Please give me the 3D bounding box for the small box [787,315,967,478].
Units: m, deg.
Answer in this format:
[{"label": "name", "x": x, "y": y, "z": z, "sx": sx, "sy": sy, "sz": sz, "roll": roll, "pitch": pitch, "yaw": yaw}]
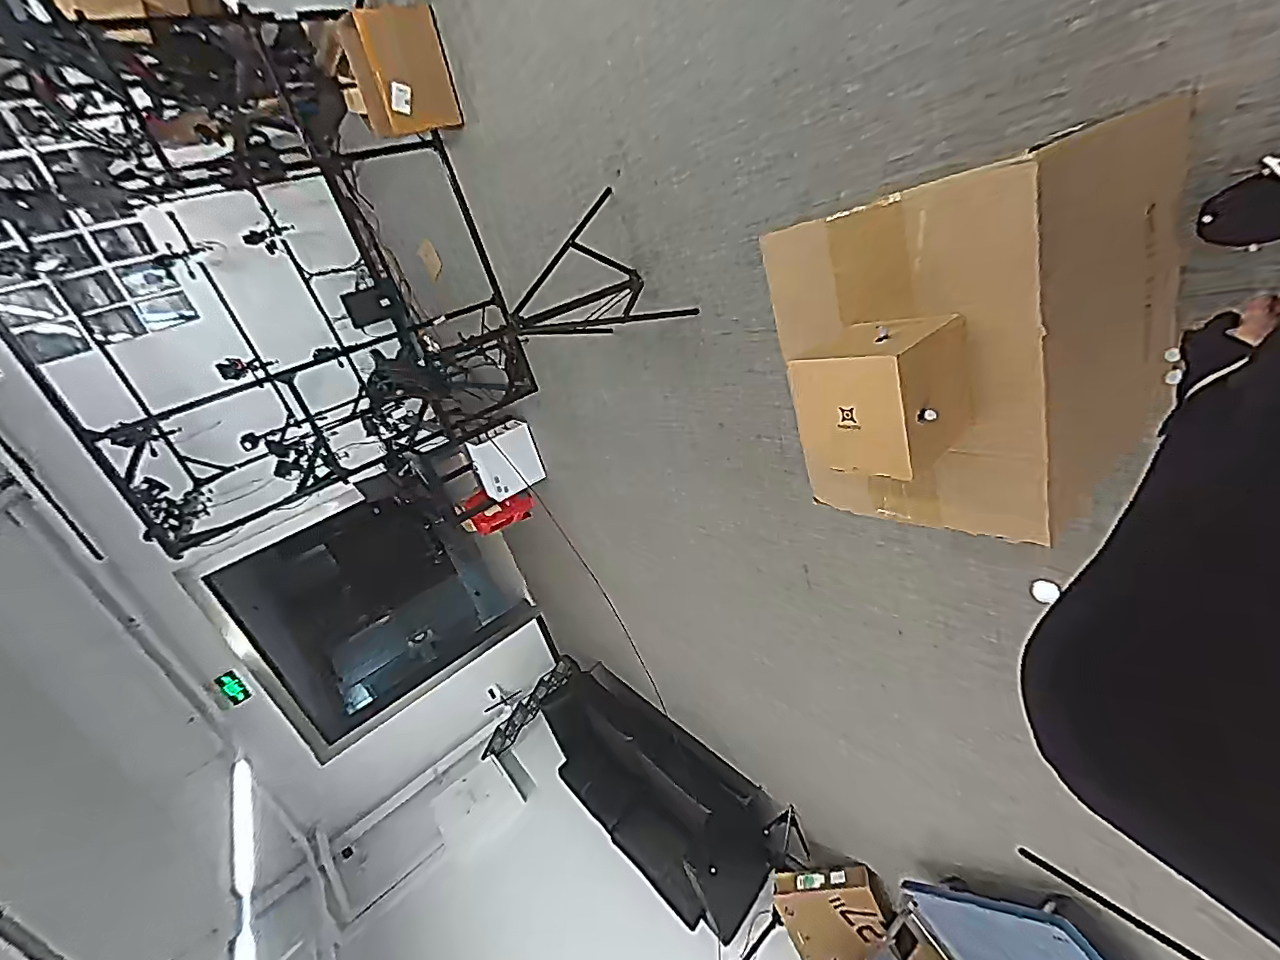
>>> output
[{"label": "small box", "x": 0.342, "y": -0.126, "z": 0.774, "sx": 0.168, "sy": 0.176, "sz": 0.179, "roll": 12, "pitch": 129, "yaw": 53}]
